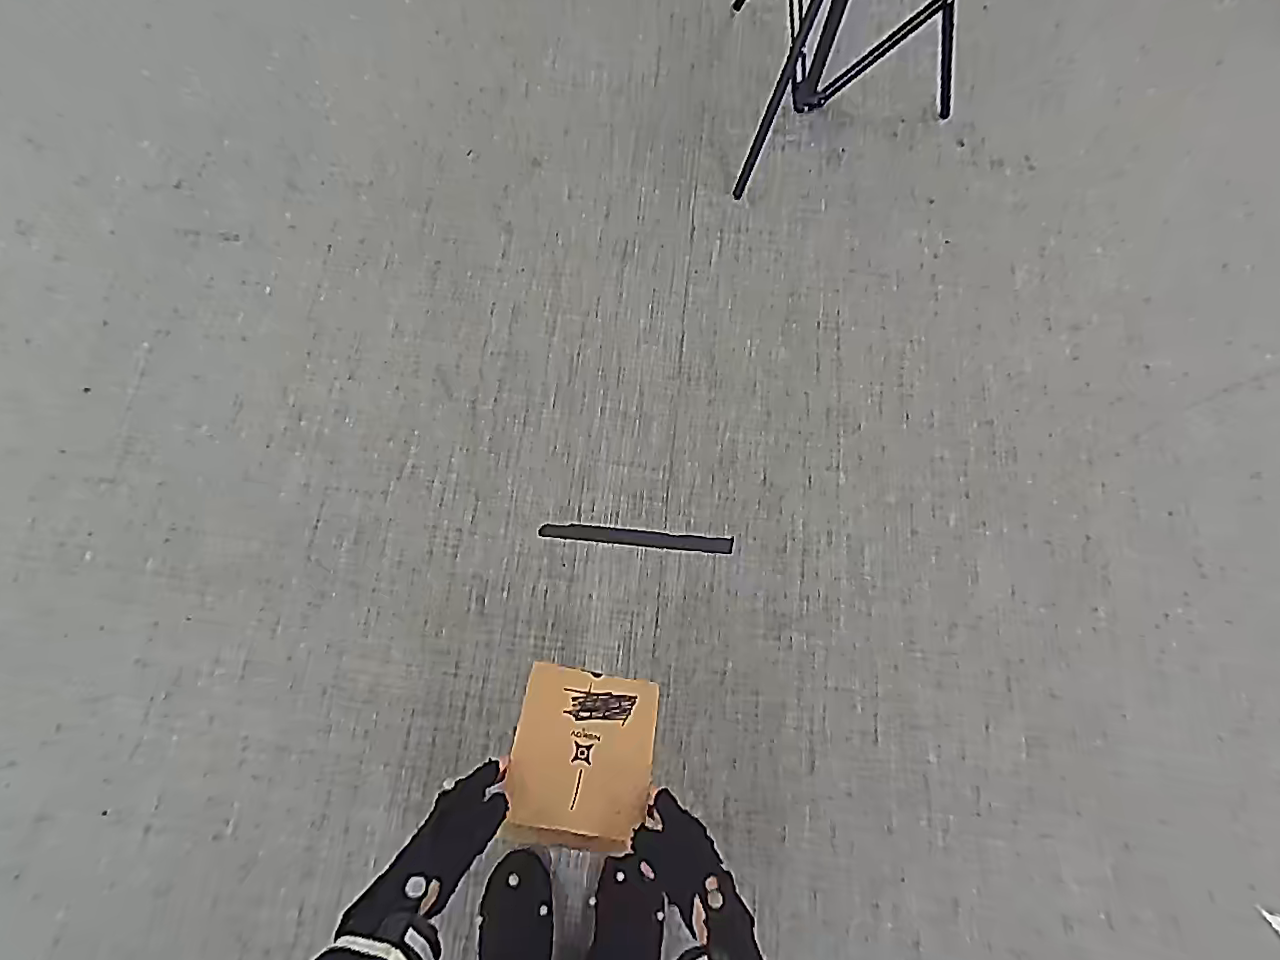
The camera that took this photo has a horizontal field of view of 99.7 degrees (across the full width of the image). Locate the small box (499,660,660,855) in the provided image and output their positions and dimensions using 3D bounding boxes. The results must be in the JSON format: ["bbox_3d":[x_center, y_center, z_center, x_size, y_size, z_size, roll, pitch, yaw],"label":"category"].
[{"bbox_3d":[-0.077,0.359,0.694,0.168,0.176,0.179,11,50,-3],"label":"small box"}]
